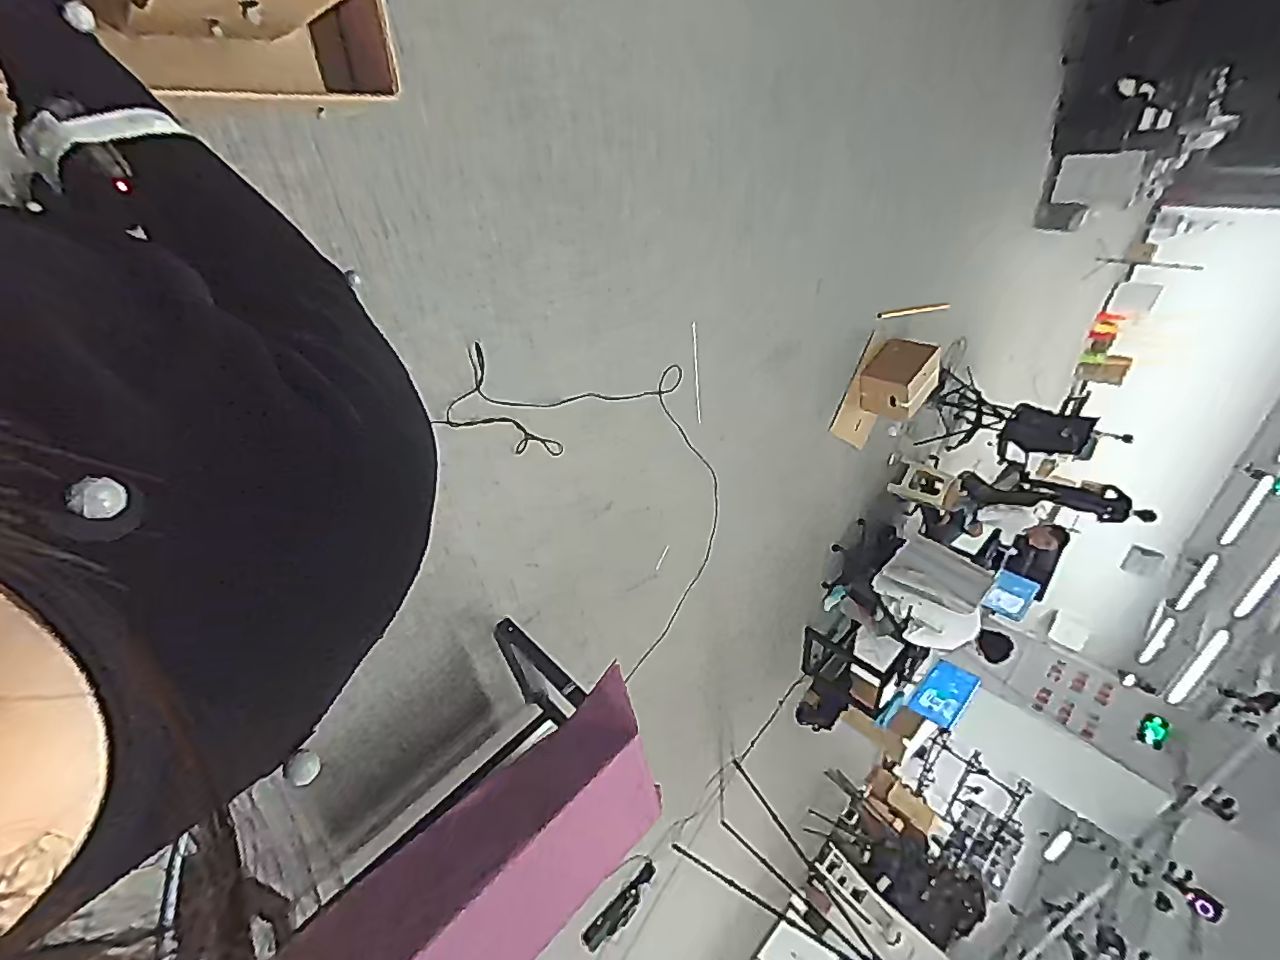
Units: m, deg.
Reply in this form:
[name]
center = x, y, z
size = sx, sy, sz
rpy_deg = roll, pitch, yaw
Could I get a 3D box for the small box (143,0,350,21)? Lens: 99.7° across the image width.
[small box]
center = -0.402, -0.547, 0.497
size = 0.168, 0.176, 0.179
rpy_deg = -30, 132, -33
